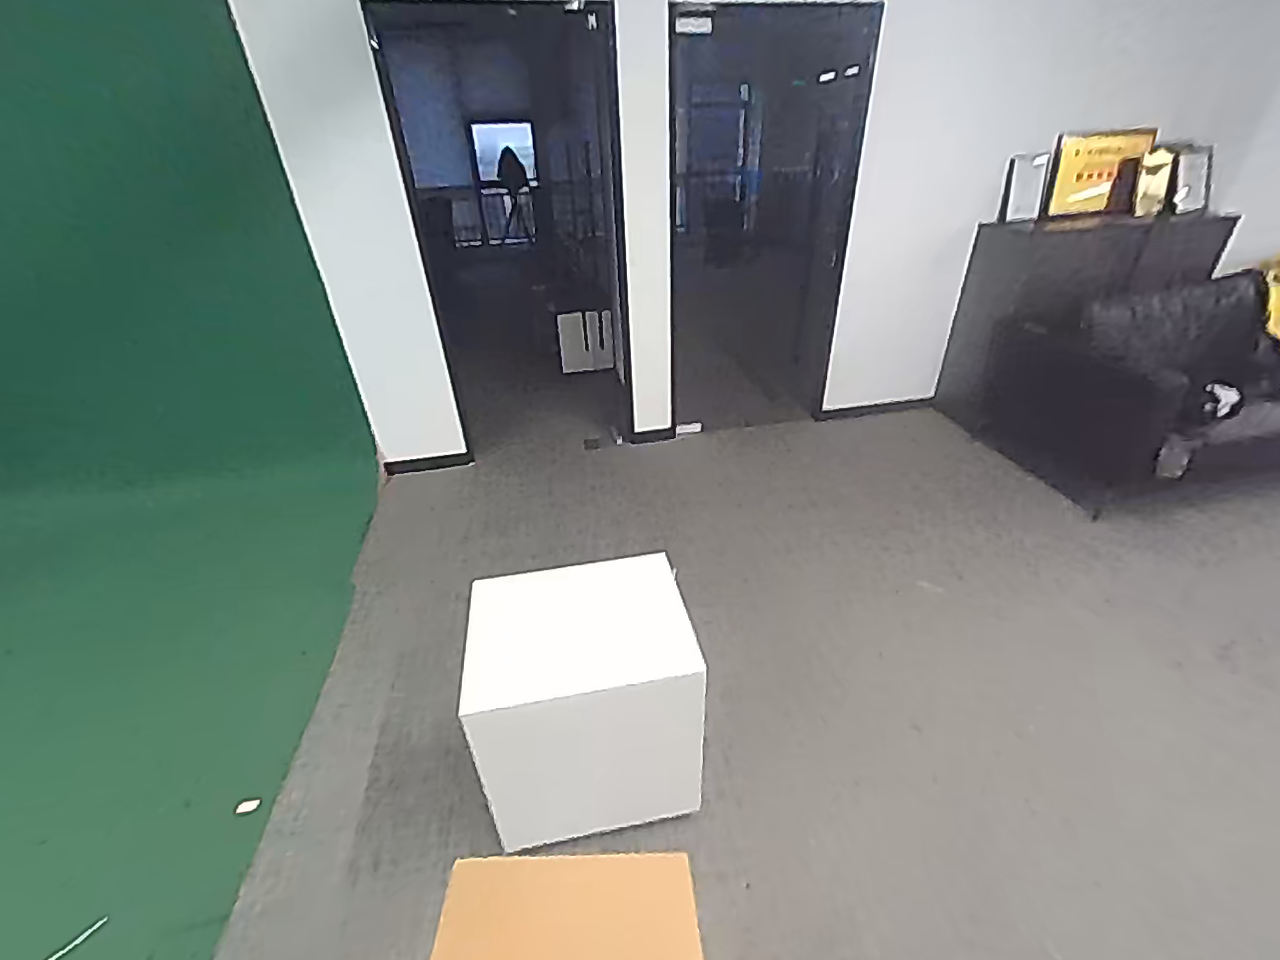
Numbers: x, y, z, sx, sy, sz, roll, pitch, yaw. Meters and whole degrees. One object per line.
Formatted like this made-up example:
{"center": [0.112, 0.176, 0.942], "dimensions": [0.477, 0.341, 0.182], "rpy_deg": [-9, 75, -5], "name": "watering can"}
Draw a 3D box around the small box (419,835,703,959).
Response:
{"center": [-0.049, 0.354, 0.323], "dimensions": [0.168, 0.176, 0.179], "rpy_deg": [2, 19, -5], "name": "small box"}
